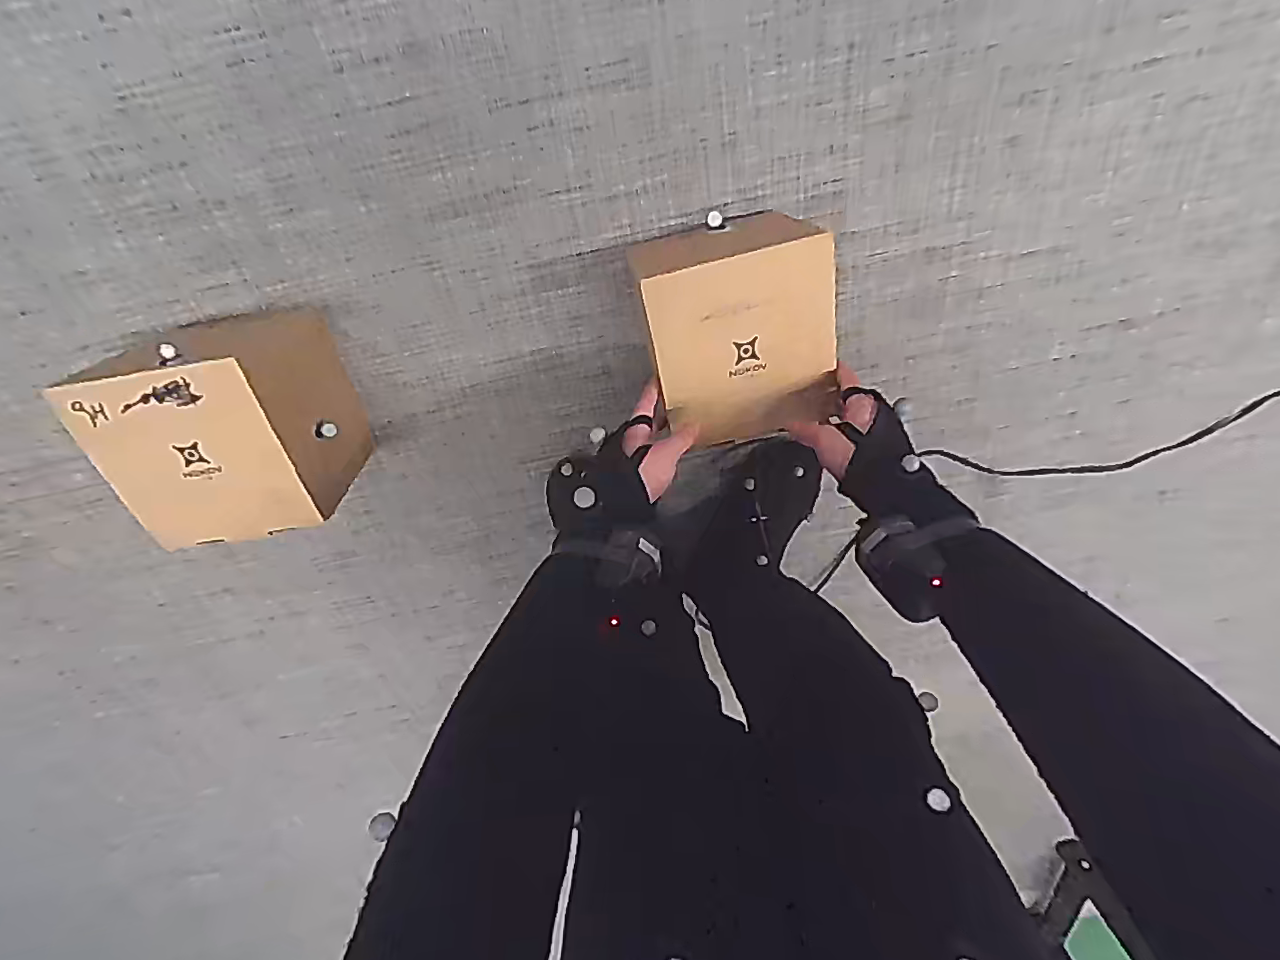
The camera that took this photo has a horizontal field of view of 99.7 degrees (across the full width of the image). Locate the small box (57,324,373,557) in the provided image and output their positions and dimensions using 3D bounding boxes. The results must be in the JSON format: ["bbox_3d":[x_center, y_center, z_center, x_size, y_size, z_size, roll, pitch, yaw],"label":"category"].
[{"bbox_3d":[-0.417,-0.047,0.577,0.168,0.176,0.179,-10,123,0],"label":"small box"}]

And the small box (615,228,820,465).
[{"bbox_3d":[0.076,-0.146,0.570,0.168,0.176,0.179,-15,121,2],"label":"small box"}]
